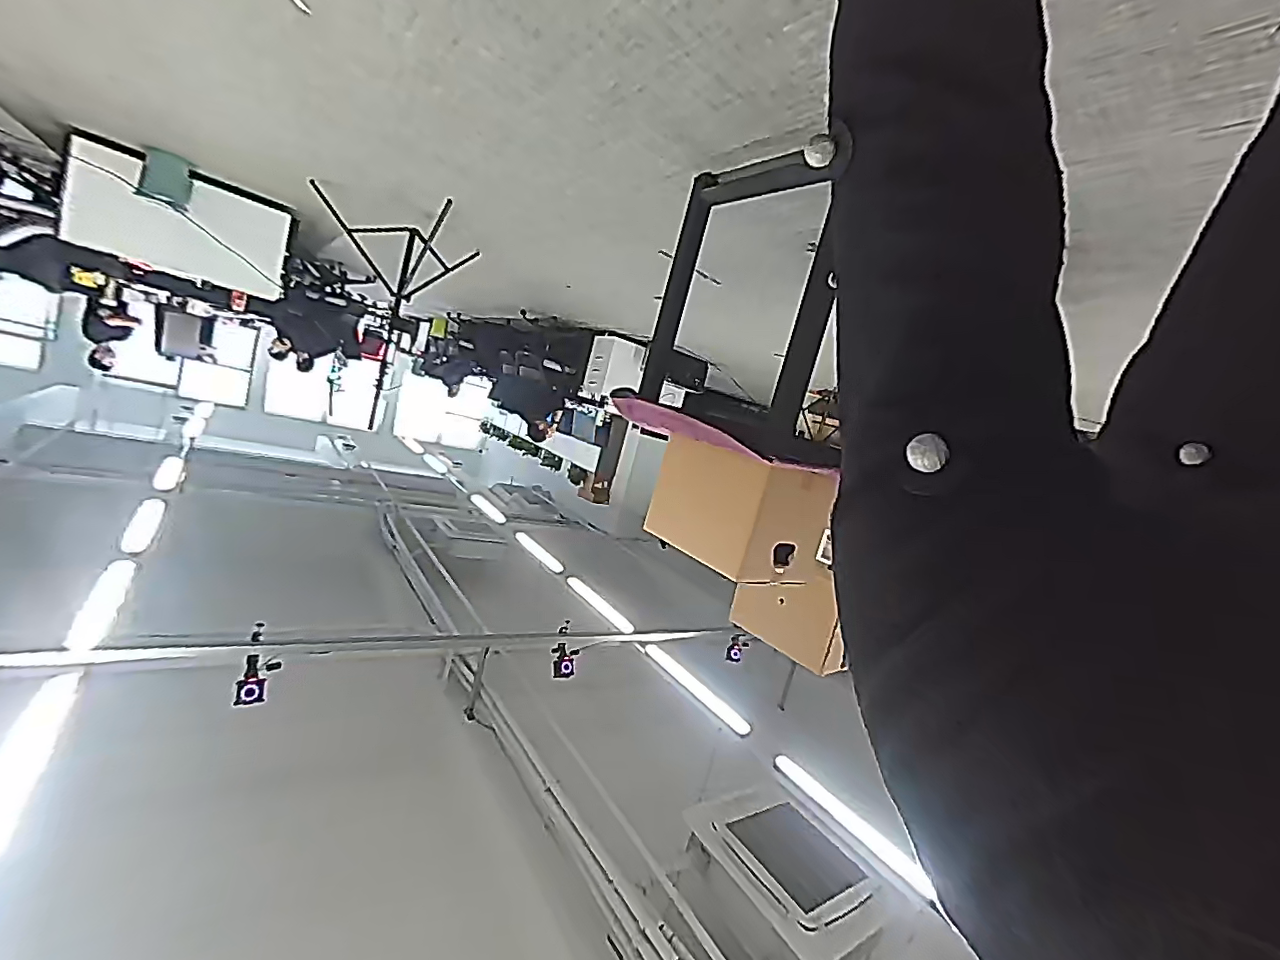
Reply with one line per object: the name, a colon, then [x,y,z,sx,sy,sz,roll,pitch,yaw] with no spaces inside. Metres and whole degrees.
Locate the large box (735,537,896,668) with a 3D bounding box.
large box: [0.611,0.410,1.919,0.320,0.320,0.408,4,-168,-38]
